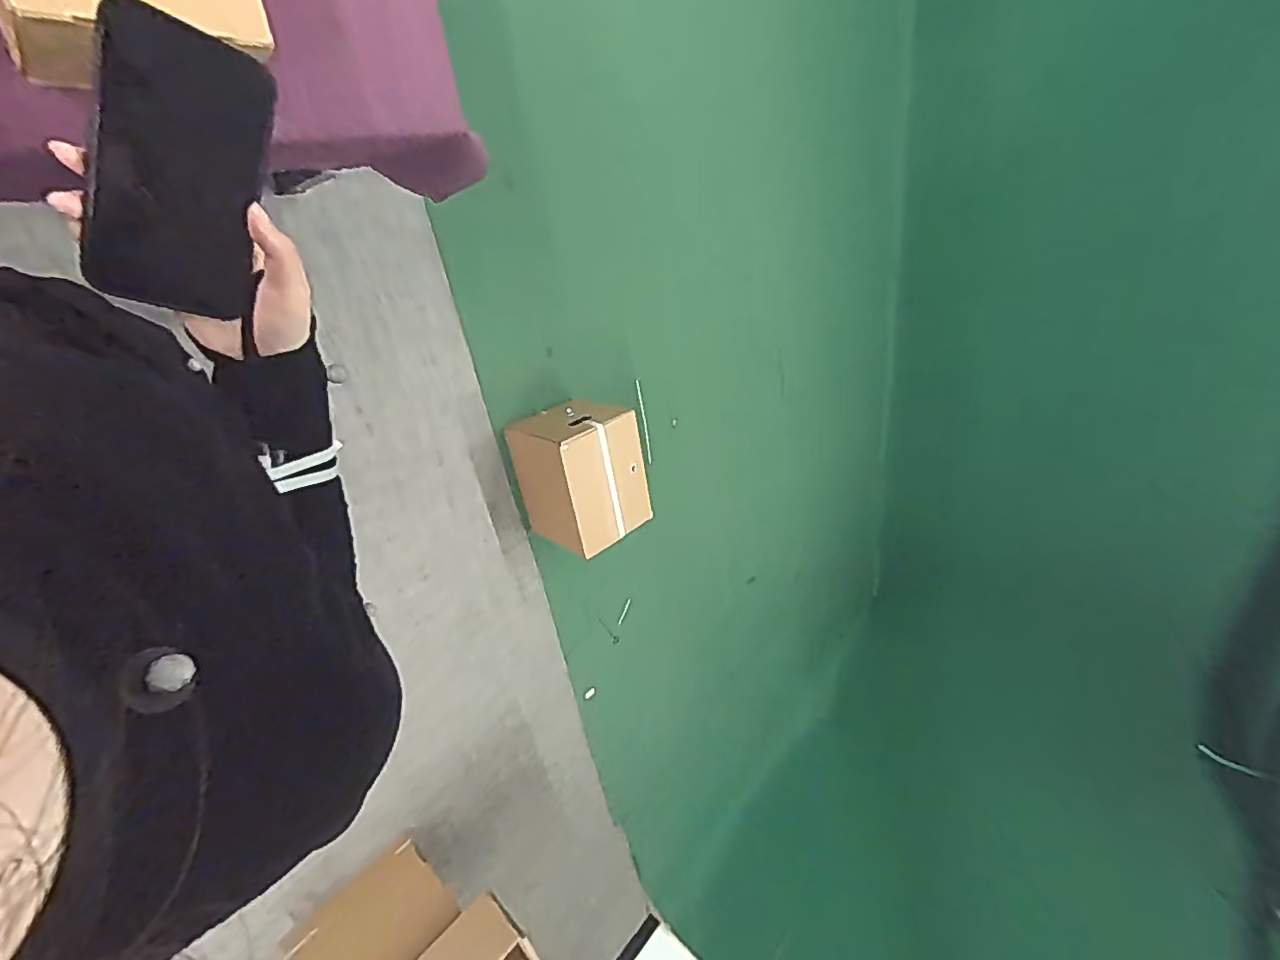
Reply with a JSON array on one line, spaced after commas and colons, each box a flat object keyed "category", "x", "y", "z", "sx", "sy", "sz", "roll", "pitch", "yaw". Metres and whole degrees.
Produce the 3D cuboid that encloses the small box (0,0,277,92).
[{"category": "small box", "x": -0.440, "y": -0.452, "z": 0.445, "sx": 0.168, "sy": 0.176, "sz": 0.179, "roll": -26, "pitch": 122, "yaw": -38}]
